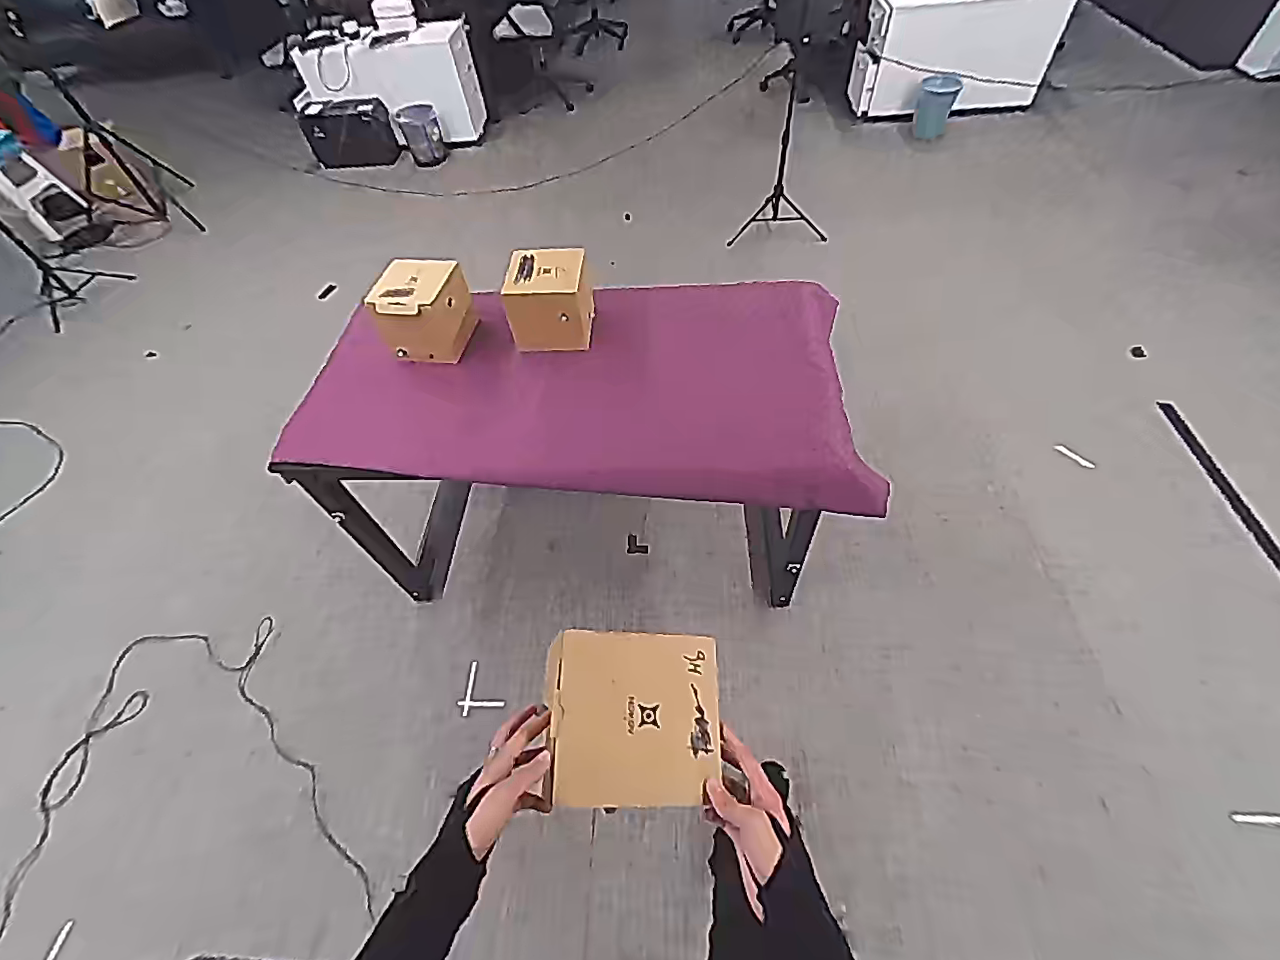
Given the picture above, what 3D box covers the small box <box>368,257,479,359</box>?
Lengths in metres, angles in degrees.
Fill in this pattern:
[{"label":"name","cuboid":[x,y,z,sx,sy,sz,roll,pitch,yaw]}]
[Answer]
[{"label":"small box","cuboid":[-0.506,-0.409,1.298,0.168,0.176,0.179,5,55,8]}]
